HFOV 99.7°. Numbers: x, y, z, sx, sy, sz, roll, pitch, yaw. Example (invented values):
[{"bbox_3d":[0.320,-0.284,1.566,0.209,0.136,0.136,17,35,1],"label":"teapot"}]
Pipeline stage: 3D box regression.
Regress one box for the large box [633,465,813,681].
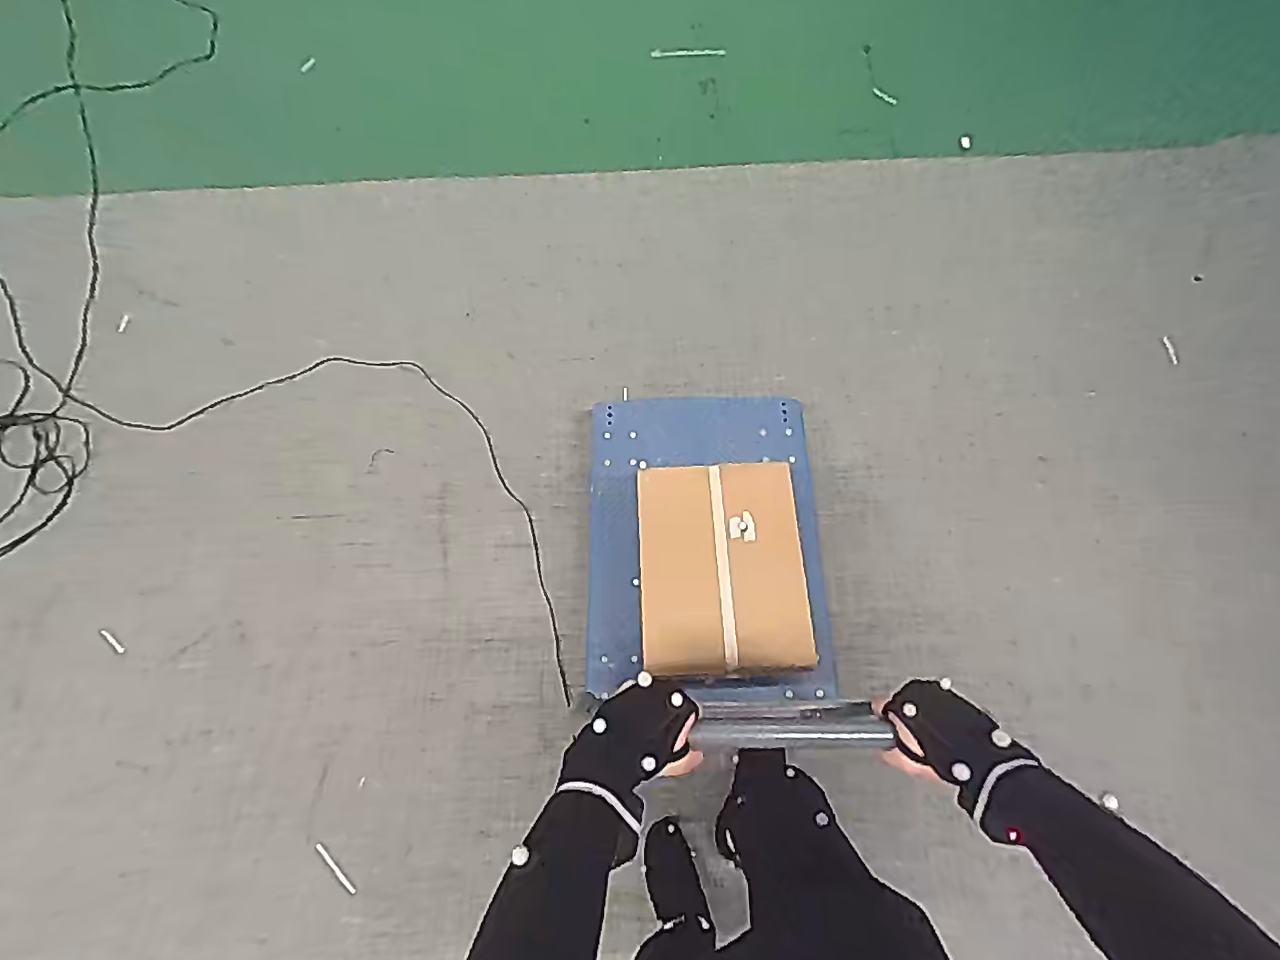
[{"bbox_3d":[0.155,0.216,1.183,0.320,0.320,0.408,-3,69,0],"label":"large box"}]
